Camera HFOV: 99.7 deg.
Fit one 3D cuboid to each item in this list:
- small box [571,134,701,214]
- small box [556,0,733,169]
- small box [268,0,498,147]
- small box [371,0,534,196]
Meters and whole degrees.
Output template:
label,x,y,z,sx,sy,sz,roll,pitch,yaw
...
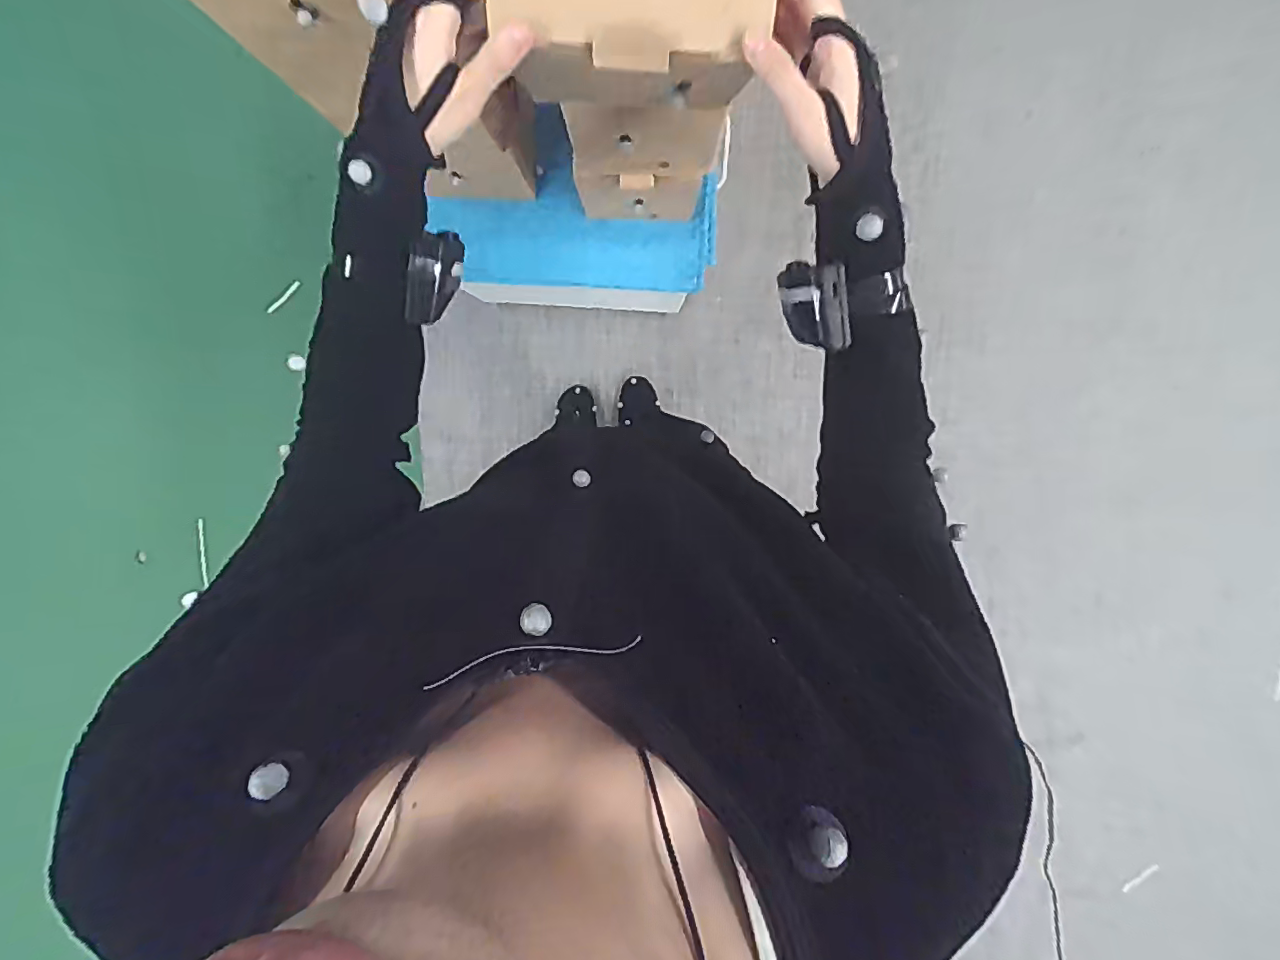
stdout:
label,x,y,z,sx,sy,sz,roll,pitch,yaw
small box,0.000,-0.476,0.733,0.168,0.176,0.179,2,100,0
small box,0.007,-0.451,0.572,0.168,0.176,0.179,0,97,1
small box,-0.252,-0.474,0.566,0.179,0.176,0.168,1,99,0
small box,-0.242,-0.501,0.729,0.179,0.176,0.168,1,99,0
